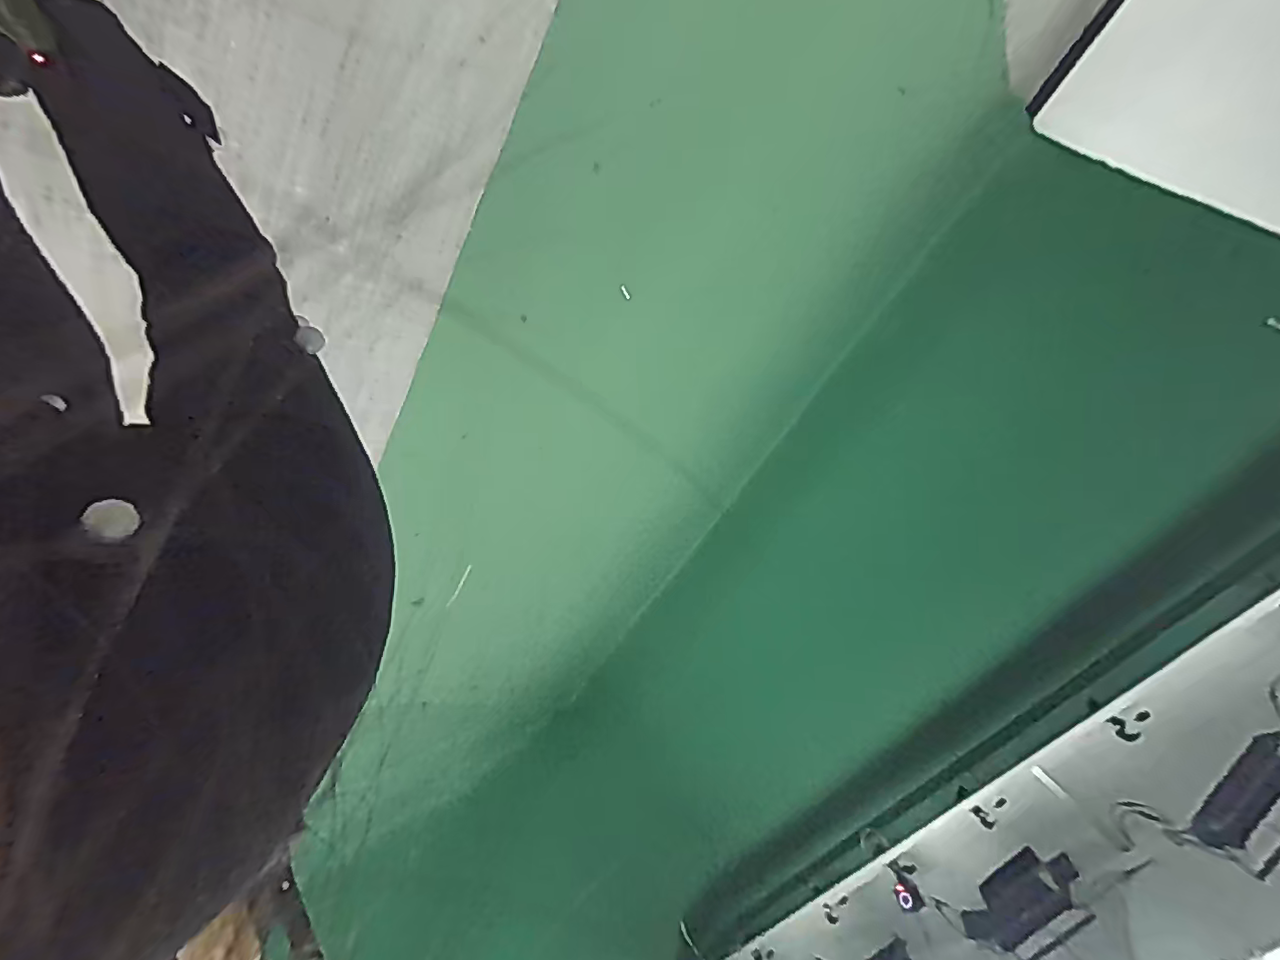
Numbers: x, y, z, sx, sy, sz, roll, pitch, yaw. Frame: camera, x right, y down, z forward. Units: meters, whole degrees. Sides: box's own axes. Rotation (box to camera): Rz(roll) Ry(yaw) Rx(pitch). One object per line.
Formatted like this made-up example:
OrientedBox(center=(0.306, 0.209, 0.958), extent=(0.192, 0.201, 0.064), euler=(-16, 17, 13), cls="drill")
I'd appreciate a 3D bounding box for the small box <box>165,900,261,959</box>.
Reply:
OrientedBox(center=(-1.214, 1.348, 1.533), extent=(0.168, 0.176, 0.179), euler=(-2, 133, -54), cls="small box")
